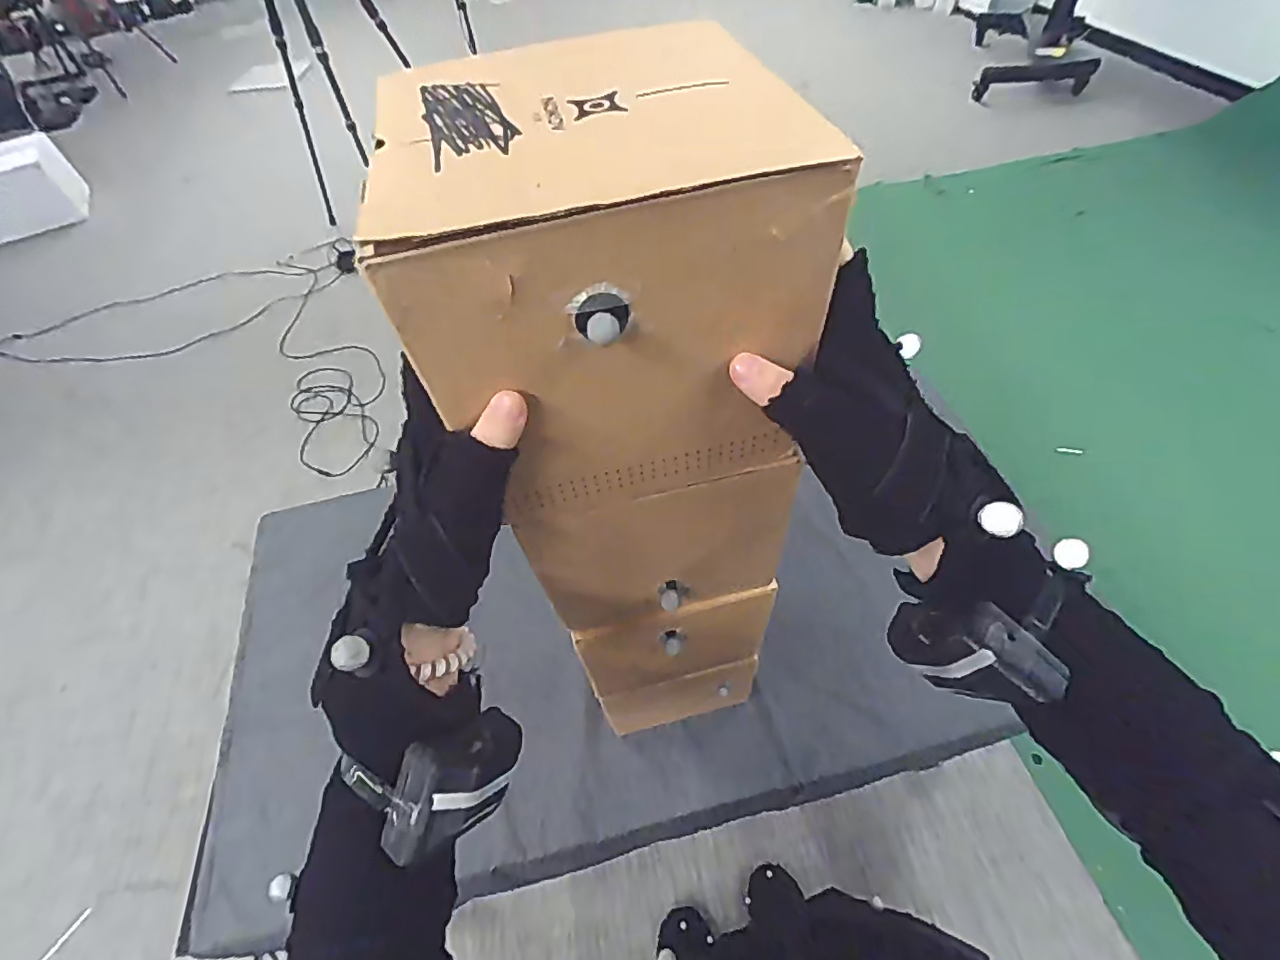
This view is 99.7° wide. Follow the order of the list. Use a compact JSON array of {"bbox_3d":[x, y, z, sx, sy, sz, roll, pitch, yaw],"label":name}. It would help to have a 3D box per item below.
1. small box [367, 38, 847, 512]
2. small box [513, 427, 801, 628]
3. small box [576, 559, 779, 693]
[{"bbox_3d":[-0.018,-0.103,0.297,0.179,0.176,0.168,-13,54,-4],"label":"small box"},{"bbox_3d":[0.002,-0.004,0.426,0.179,0.176,0.168,-12,52,-4],"label":"small box"},{"bbox_3d":[0.021,0.097,0.555,0.179,0.176,0.168,-14,53,-5],"label":"small box"}]
